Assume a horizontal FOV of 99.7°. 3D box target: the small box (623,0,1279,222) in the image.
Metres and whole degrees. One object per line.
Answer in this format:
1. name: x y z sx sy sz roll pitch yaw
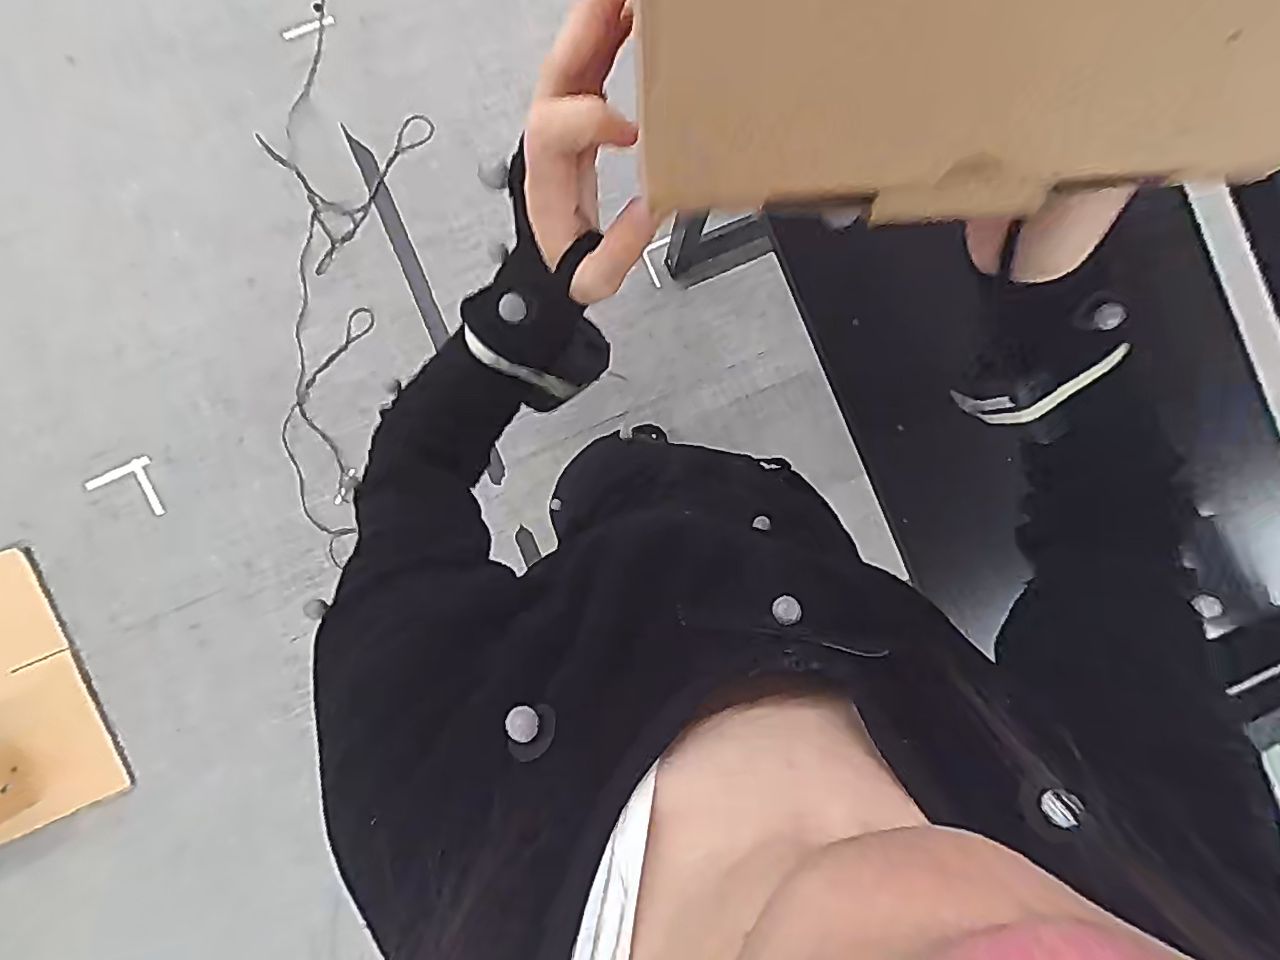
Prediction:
1. small box: 0.078 -0.188 0.161 0.168 0.176 0.179 -4 123 0
